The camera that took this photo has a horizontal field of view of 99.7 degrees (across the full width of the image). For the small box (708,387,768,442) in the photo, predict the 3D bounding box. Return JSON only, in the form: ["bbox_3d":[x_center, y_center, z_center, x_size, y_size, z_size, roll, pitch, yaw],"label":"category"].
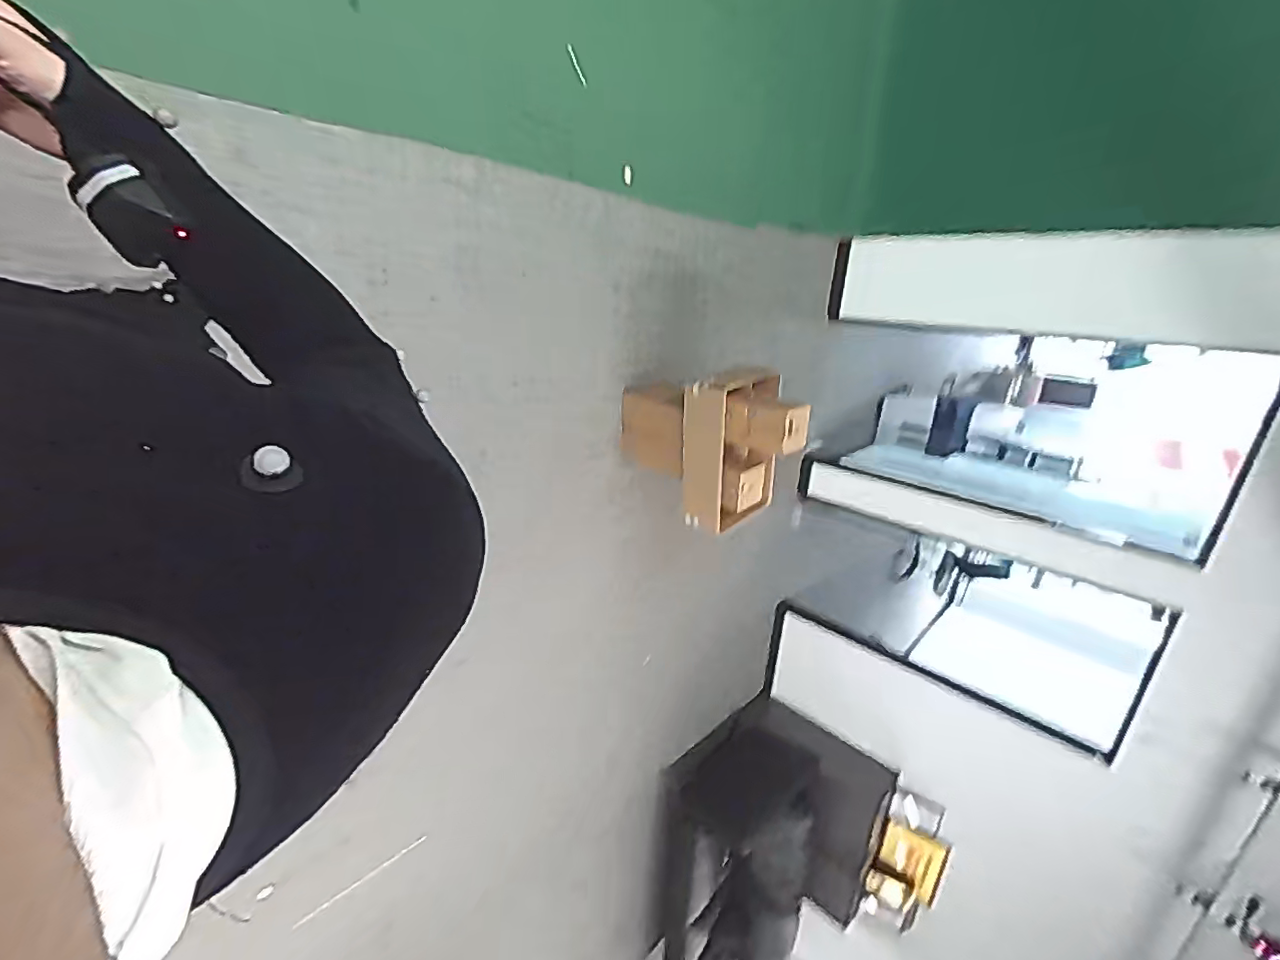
[{"bbox_3d":[0.384,-0.261,2.132,0.179,0.176,0.168,-24,123,-42],"label":"small box"}]

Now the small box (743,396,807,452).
[{"bbox_3d":[0.503,-0.216,2.029,0.179,0.176,0.168,-20,120,-44],"label":"small box"}]
